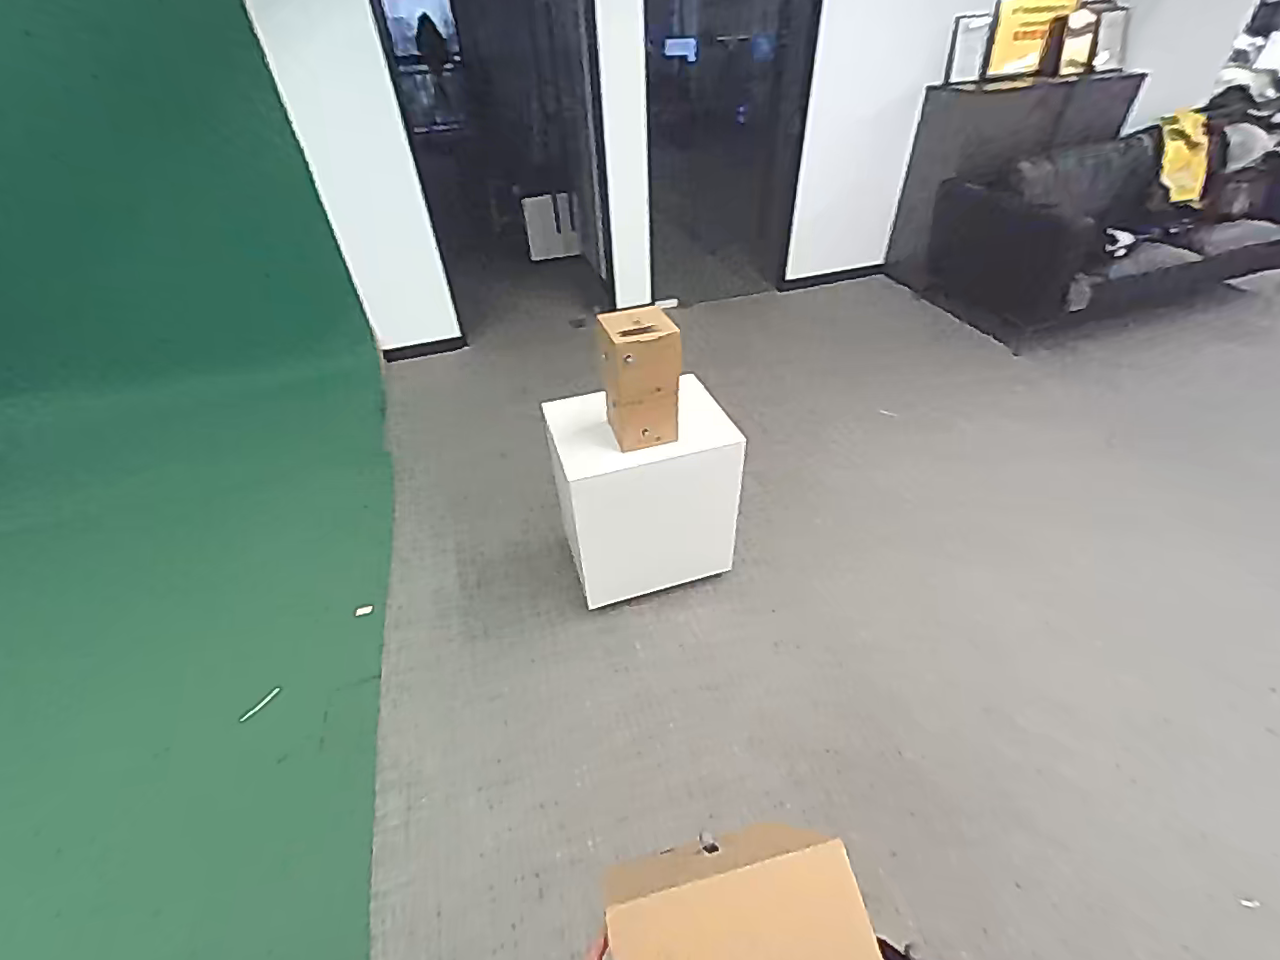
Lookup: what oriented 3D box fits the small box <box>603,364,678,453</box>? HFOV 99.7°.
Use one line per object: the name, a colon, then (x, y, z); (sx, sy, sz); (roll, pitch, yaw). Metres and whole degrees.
small box: (-0.001, -0.198, 1.500); (0.168, 0.176, 0.179); (-13, 41, -12)
